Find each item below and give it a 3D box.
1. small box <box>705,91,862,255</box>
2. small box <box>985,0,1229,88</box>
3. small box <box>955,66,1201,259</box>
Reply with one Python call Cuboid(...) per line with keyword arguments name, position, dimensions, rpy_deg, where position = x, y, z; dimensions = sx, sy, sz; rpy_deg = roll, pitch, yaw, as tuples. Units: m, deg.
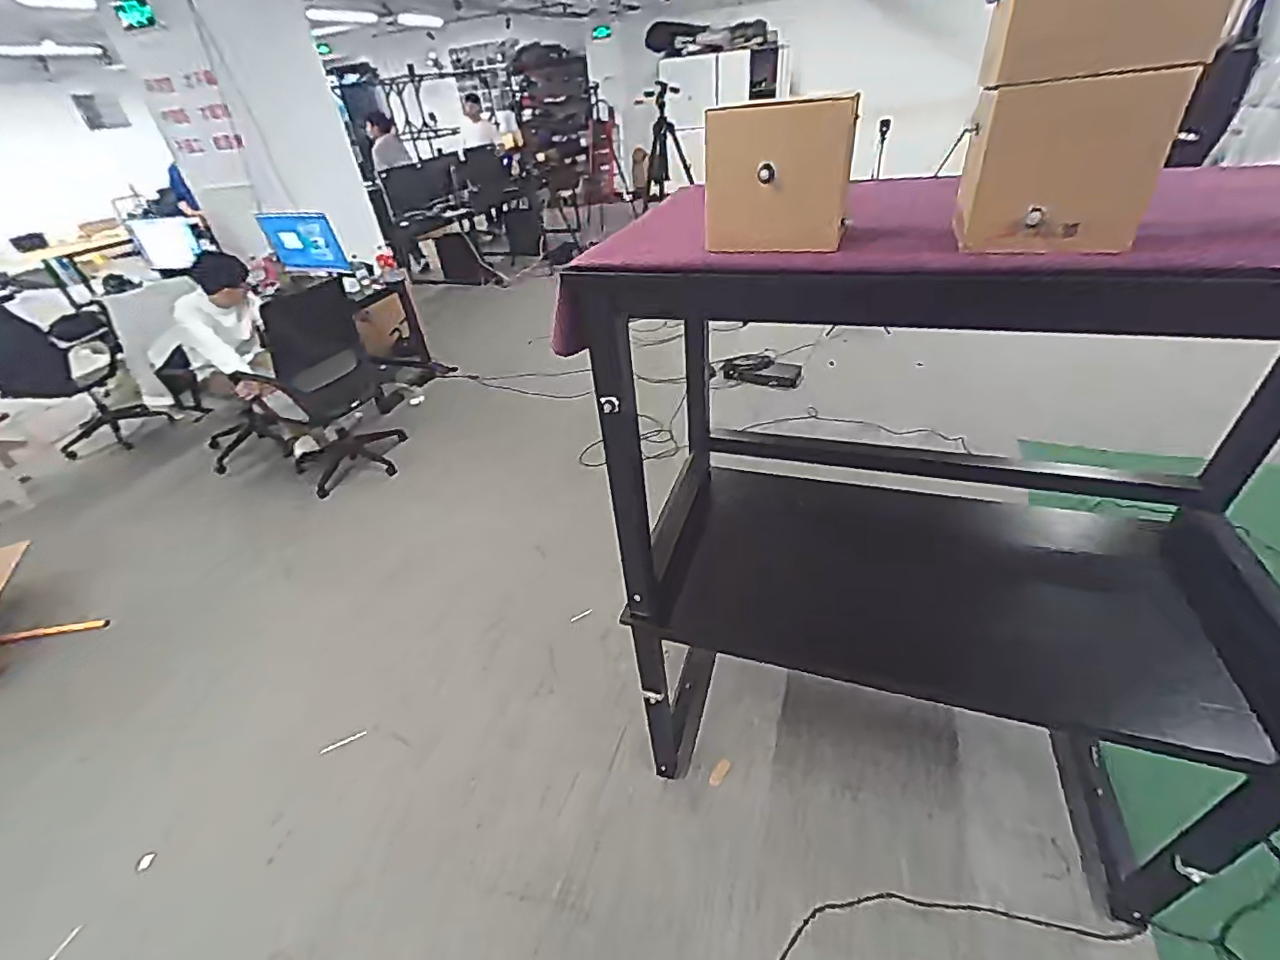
Cuboid(name="small box", position=(0.194, -0.413, 0.735), dimensions=(0.179, 0.176, 0.168), rpy_deg=(7, 37, 19))
Cuboid(name="small box", position=(0.461, -0.500, 0.535), dimensions=(0.179, 0.176, 0.168), rpy_deg=(8, 38, 21))
Cuboid(name="small box", position=(0.481, -0.369, 0.632), dimensions=(0.168, 0.176, 0.179), rpy_deg=(9, 39, 22))
